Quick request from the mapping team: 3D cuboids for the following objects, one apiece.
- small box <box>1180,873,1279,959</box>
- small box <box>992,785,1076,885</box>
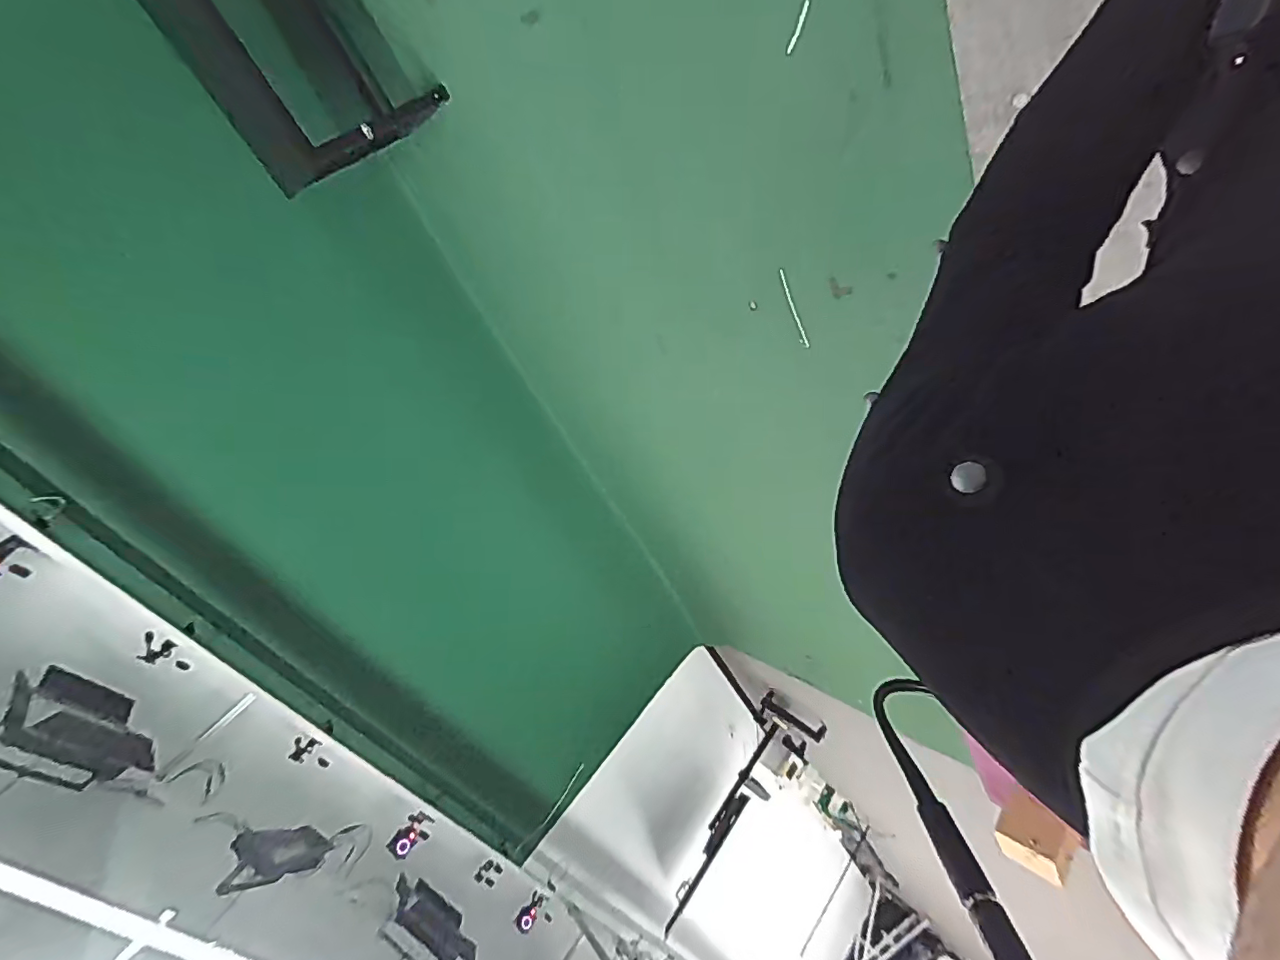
[{"bbox_3d":[1.505,1.157,1.368,0.168,0.176,0.179,6,135,54],"label":"small box"},{"bbox_3d":[1.252,1.119,1.713,0.168,0.176,0.179,7,137,53],"label":"small box"}]
